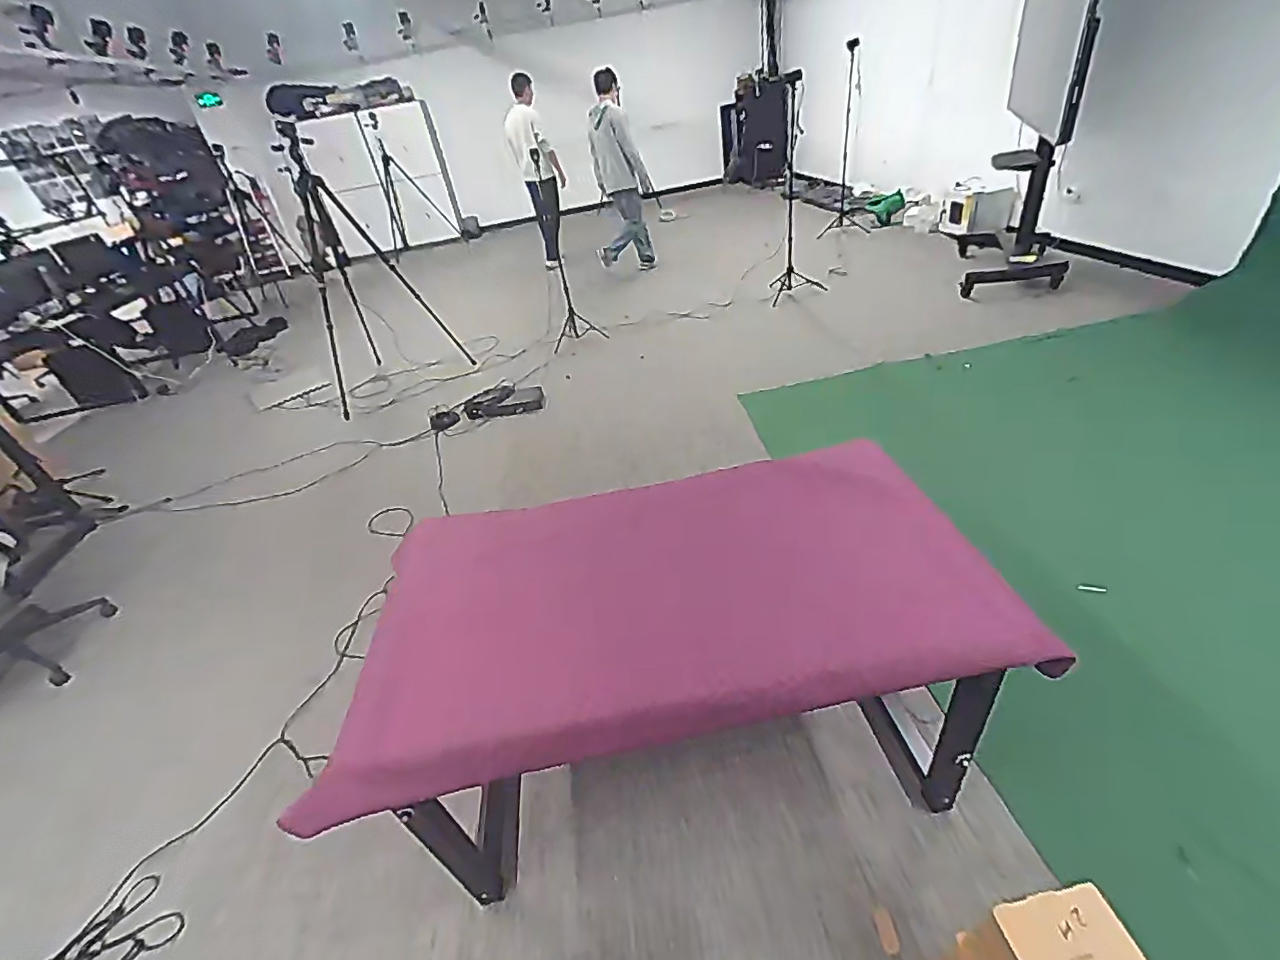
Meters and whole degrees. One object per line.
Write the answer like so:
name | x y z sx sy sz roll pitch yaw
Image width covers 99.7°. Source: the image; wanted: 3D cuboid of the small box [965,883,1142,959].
small box | 0.619 0.735 0.792 0.168 0.176 0.179 -11 36 -2
